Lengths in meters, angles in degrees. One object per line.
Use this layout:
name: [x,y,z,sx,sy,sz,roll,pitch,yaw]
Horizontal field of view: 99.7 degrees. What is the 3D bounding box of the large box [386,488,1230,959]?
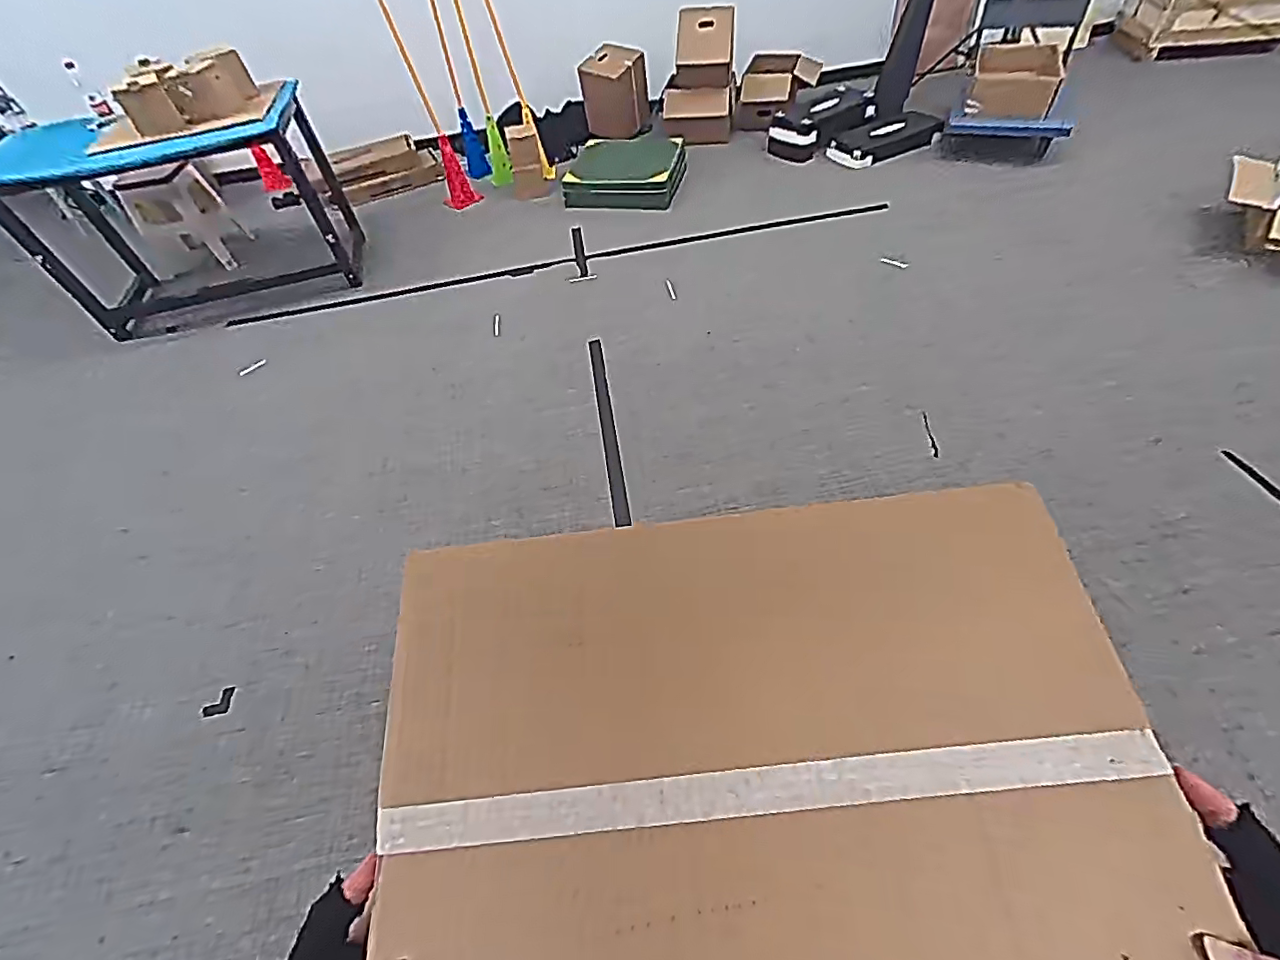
large box: [0.074,0.233,0.425,0.408,0.320,0.320,-7,63,2]
